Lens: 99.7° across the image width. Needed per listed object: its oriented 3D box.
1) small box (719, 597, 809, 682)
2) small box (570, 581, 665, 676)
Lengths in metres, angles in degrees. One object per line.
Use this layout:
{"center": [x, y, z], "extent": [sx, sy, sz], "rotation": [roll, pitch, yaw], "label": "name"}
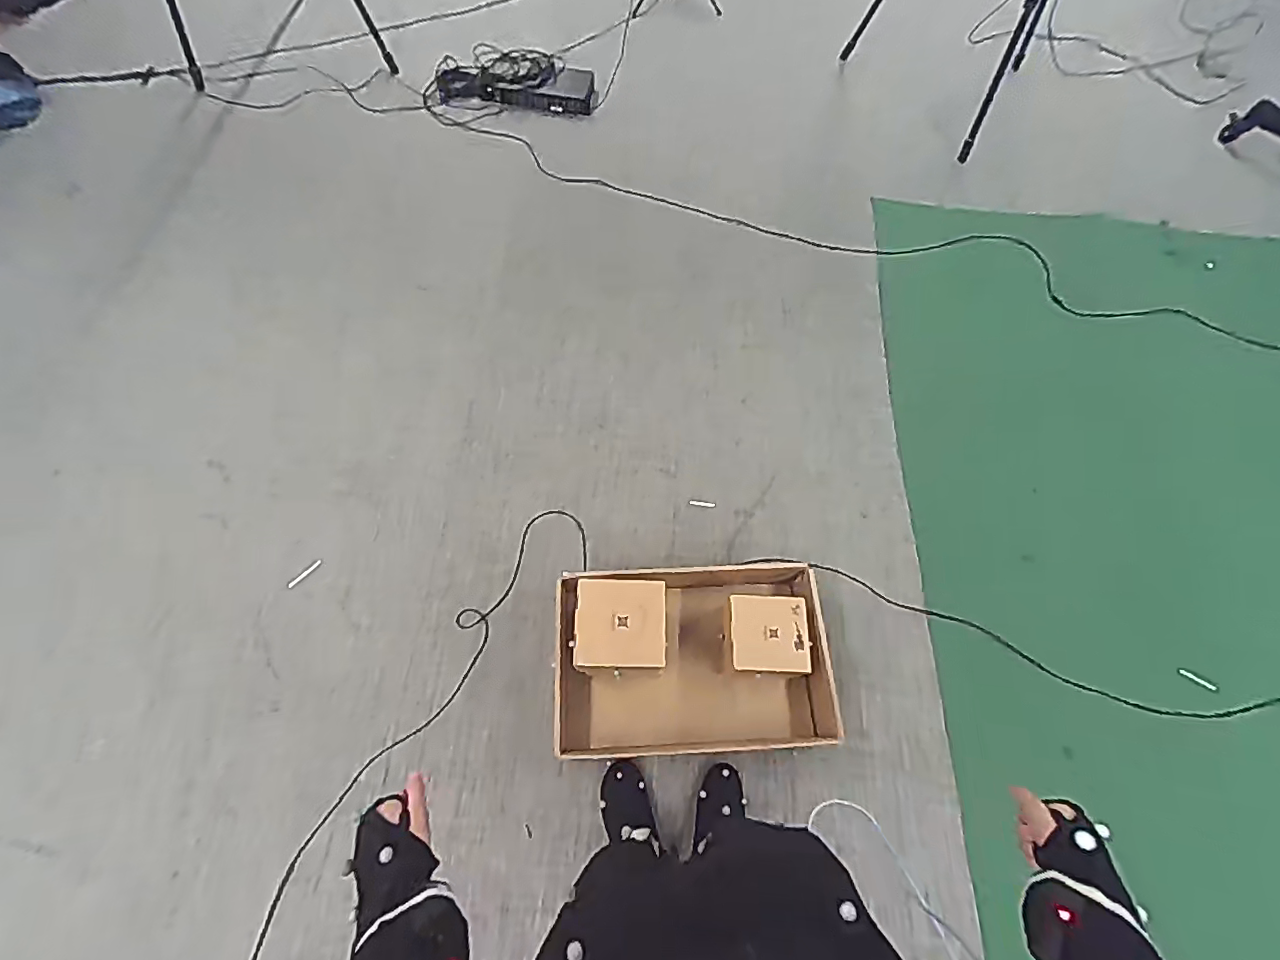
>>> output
{"center": [0.281, 0.380, 1.272], "extent": [0.179, 0.176, 0.168], "rotation": [3, 65, -1], "label": "small box"}
{"center": [-0.045, 0.309, 1.108], "extent": [0.179, 0.176, 0.168], "rotation": [3, 67, -3], "label": "small box"}
